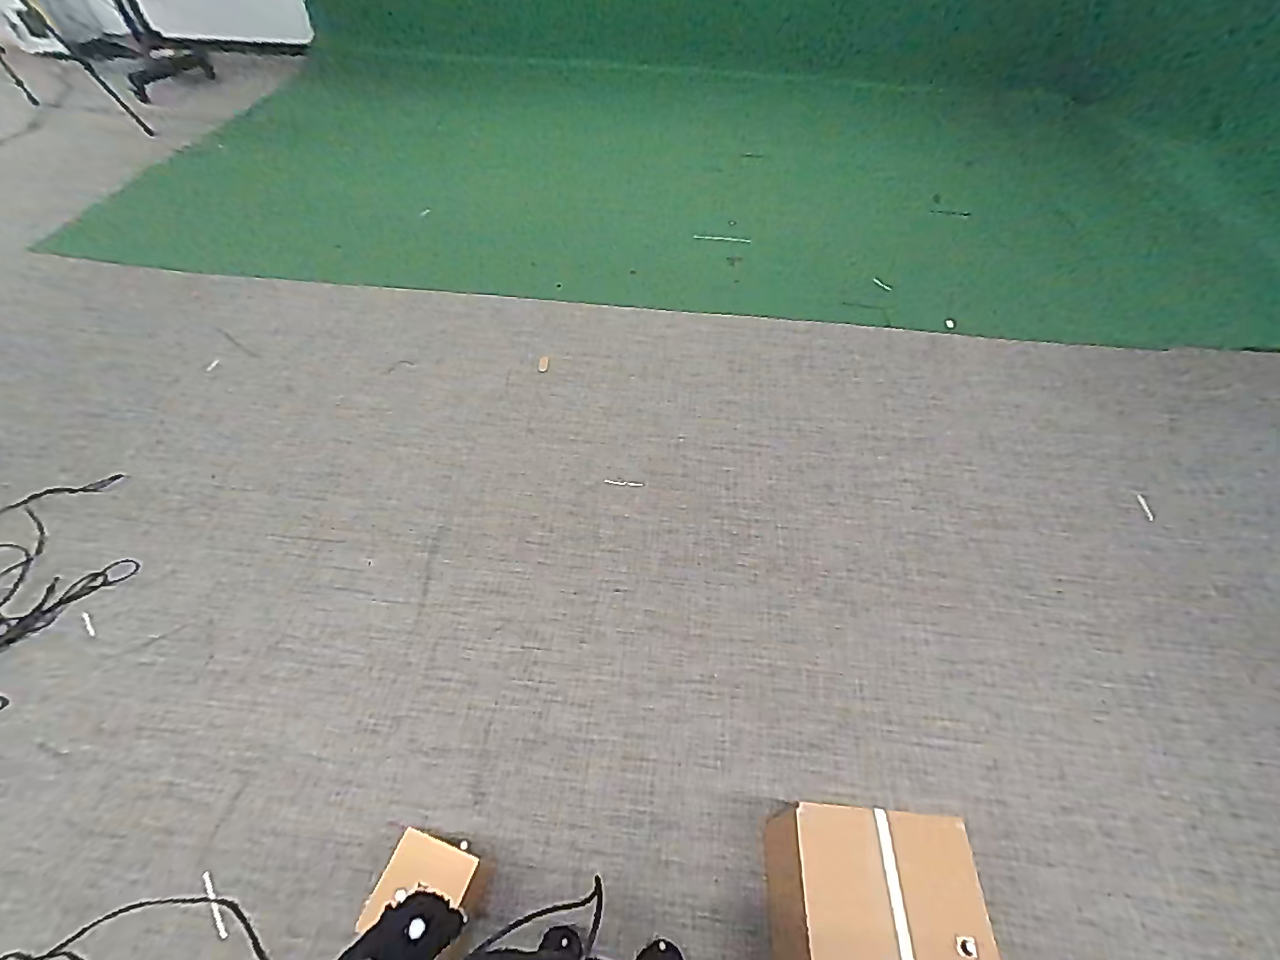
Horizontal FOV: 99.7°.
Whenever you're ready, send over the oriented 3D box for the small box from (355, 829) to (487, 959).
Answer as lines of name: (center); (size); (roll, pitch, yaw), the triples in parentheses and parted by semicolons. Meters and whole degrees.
small box: (-0.426, 0.841, 1.092); (0.168, 0.176, 0.179); (16, 54, 11)
